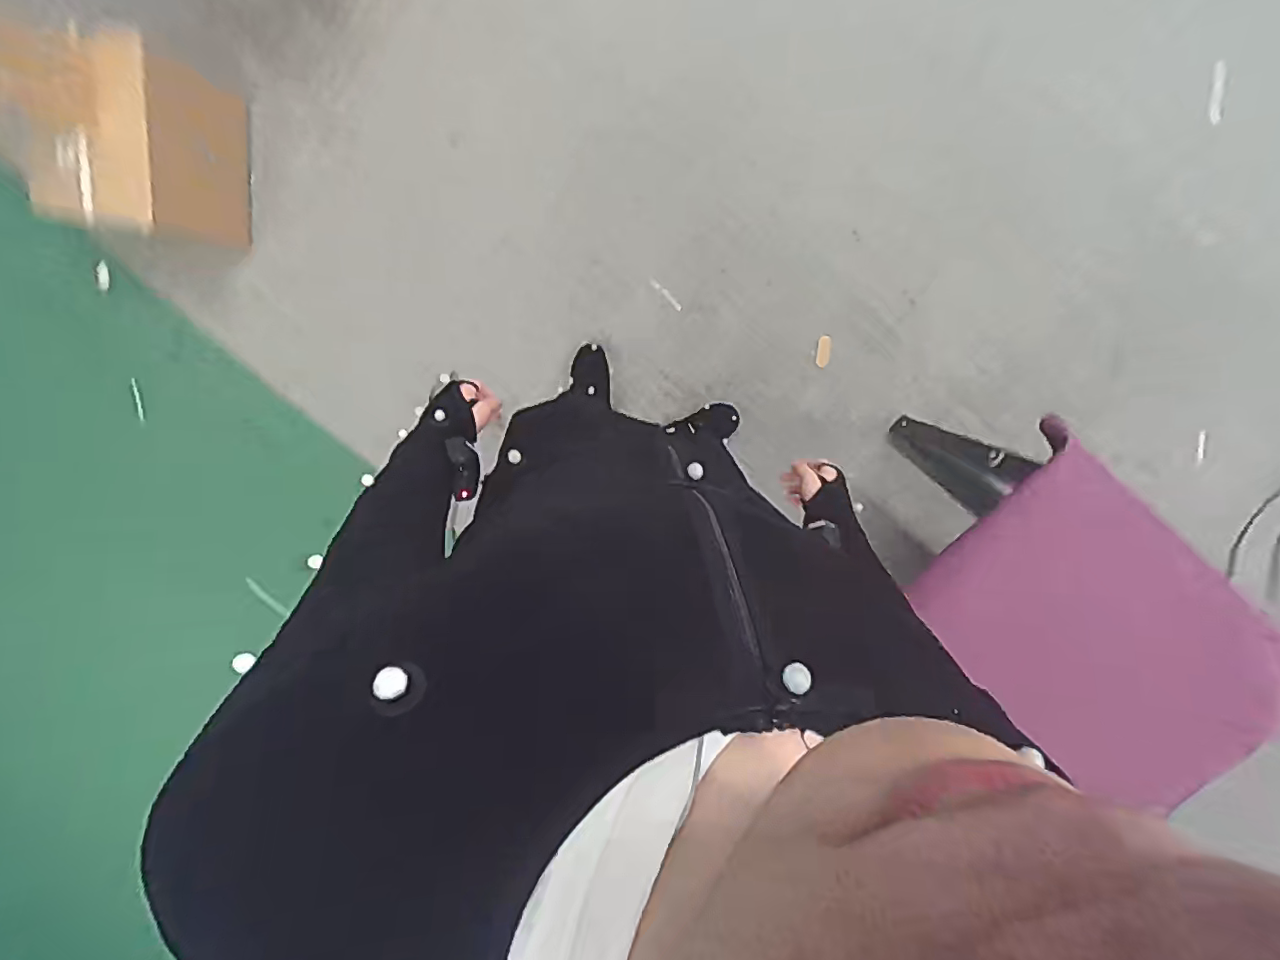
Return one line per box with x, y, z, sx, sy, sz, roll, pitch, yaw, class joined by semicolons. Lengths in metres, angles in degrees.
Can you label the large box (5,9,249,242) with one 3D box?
-1.261;-0.863;1.375;0.320;0.320;0.408;11;106;3;large box
